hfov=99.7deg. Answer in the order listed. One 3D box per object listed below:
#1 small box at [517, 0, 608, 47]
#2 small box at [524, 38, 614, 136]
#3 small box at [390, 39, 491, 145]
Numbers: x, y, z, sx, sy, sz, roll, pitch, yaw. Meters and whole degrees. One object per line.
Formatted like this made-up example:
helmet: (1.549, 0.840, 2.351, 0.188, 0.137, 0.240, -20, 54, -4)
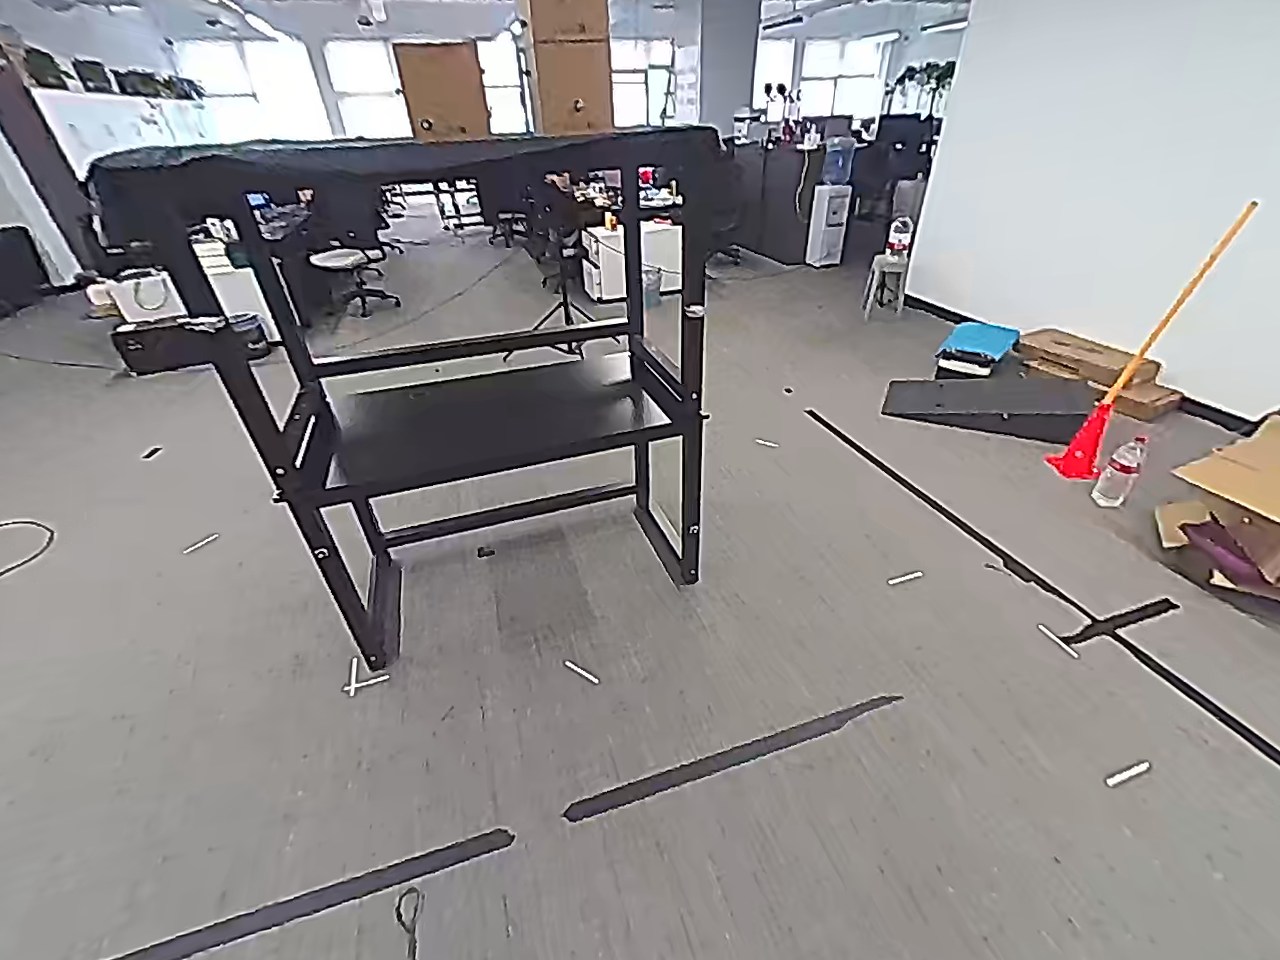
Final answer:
small box: (-0.168, -1.021, 1.138, 0.168, 0.176, 0.179, -11, 35, -12)
small box: (-0.162, -0.884, 1.229, 0.168, 0.176, 0.179, -13, 35, -13)
small box: (-0.422, -0.826, 1.162, 0.168, 0.176, 0.179, -12, 33, -14)
